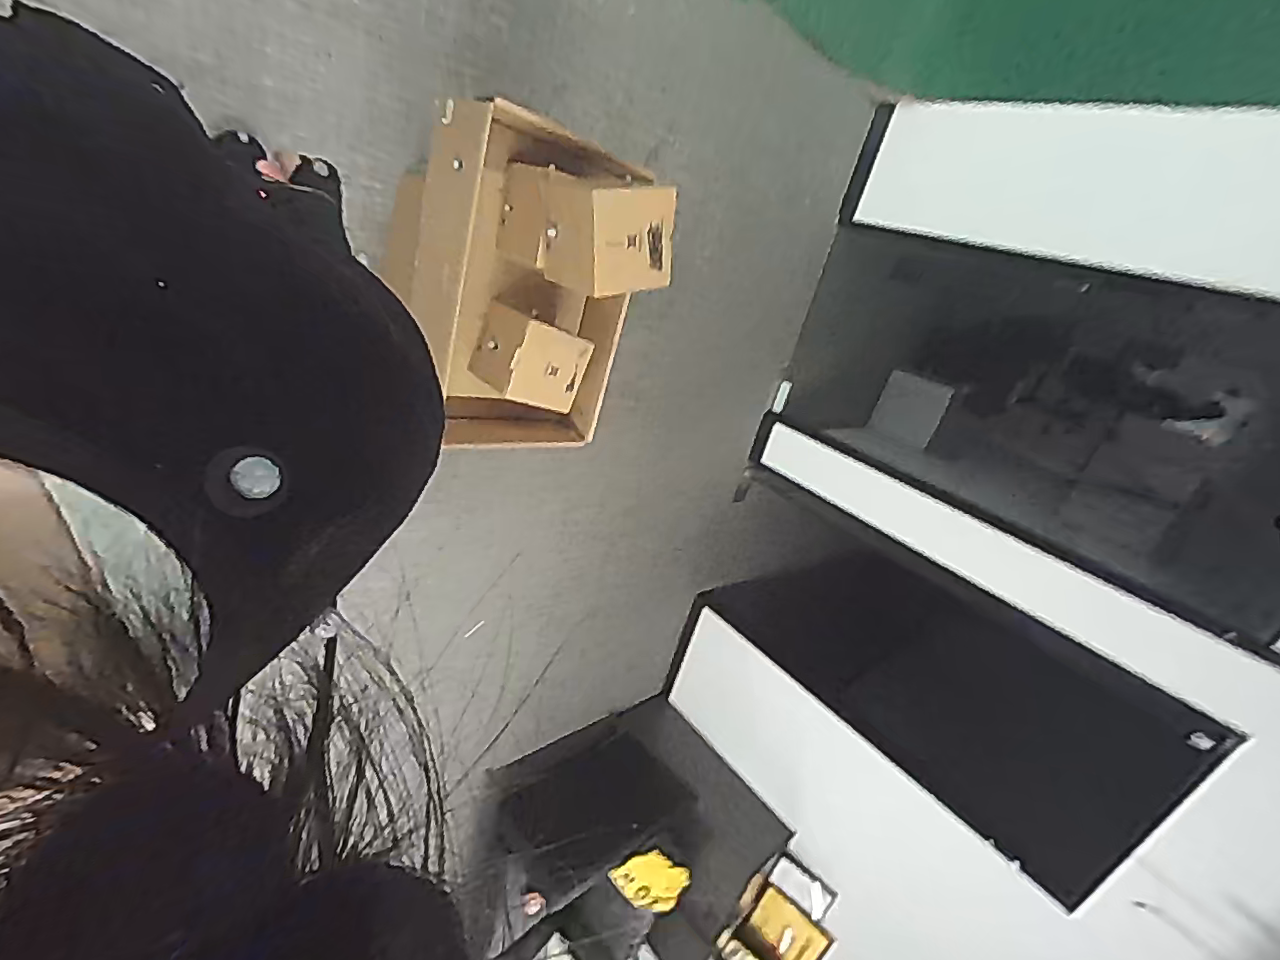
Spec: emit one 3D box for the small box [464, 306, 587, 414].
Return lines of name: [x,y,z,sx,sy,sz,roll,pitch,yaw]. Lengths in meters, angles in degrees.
small box: [-0.252,-0.262,1.171,0.179,0.176,0.168,9,109,-49]

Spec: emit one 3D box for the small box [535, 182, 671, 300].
small box: [-0.070,-0.435,0.970,0.179,0.176,0.168,-22,130,-34]
